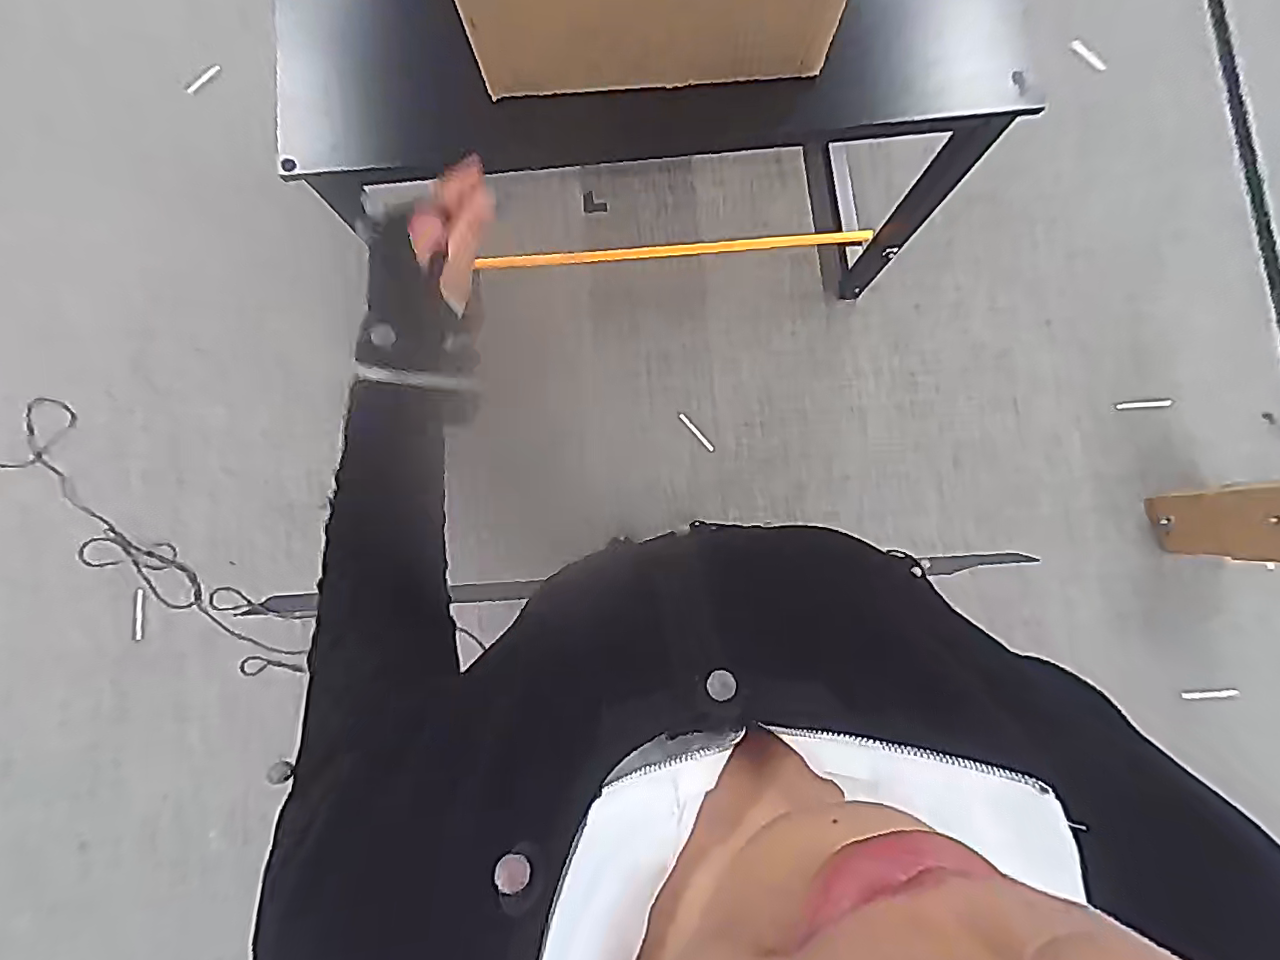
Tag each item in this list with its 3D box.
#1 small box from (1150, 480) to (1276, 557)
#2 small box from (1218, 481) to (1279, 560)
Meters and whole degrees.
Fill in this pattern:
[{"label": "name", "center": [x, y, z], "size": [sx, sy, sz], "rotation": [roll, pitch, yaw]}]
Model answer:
[{"label": "small box", "center": [1.513, 0.102, 1.415], "size": [0.179, 0.176, 0.168], "rotation": [-12, 83, 1]}, {"label": "small box", "center": [1.514, 0.090, 1.251], "size": [0.168, 0.176, 0.179], "rotation": [-9, 84, 0]}]
